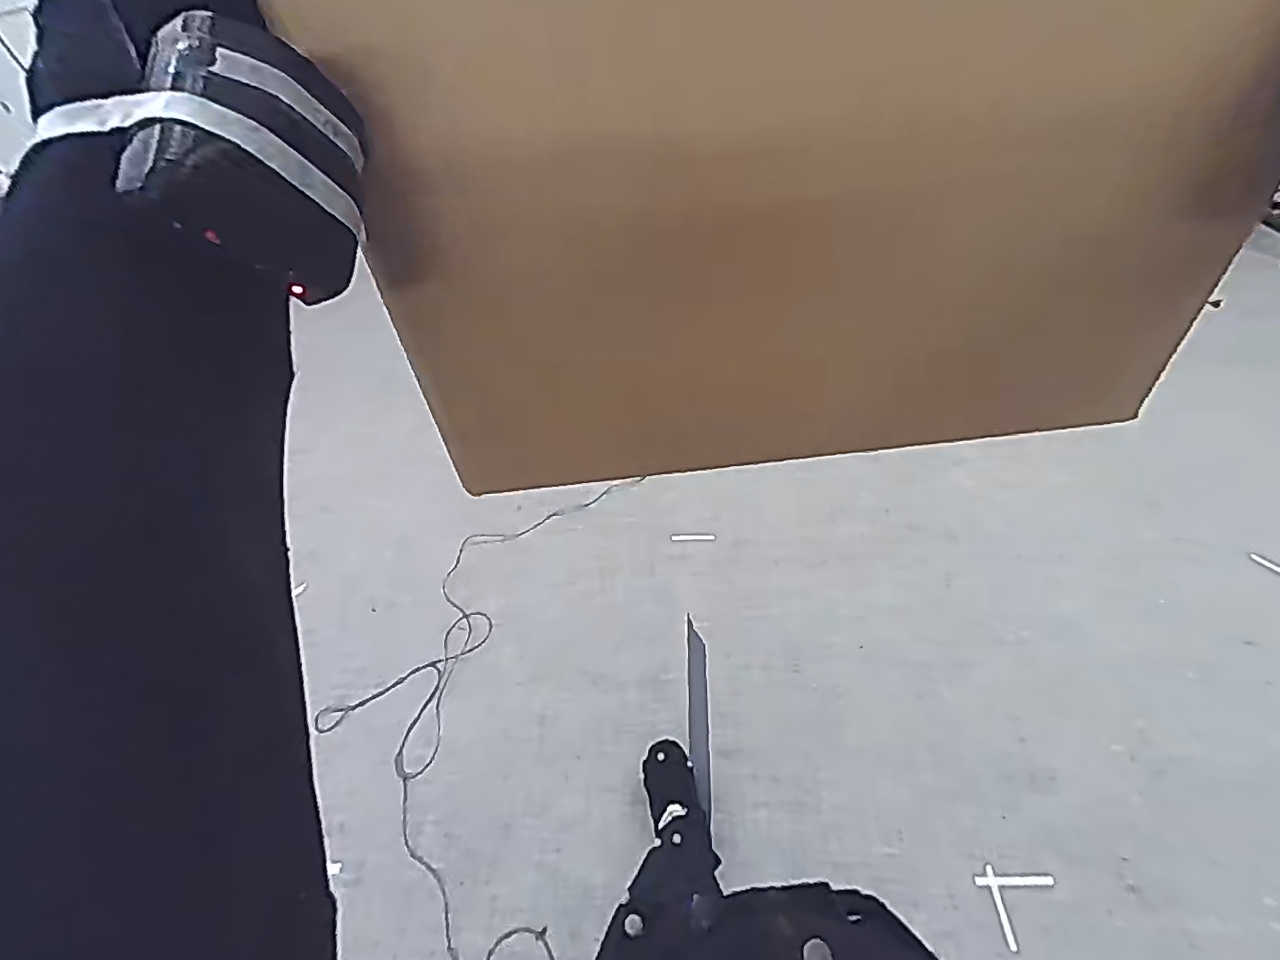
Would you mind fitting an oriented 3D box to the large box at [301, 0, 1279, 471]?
[{"bbox_3d":[0.068,-0.233,0.347,0.408,0.320,0.320,-6,42,0],"label":"large box"}]
